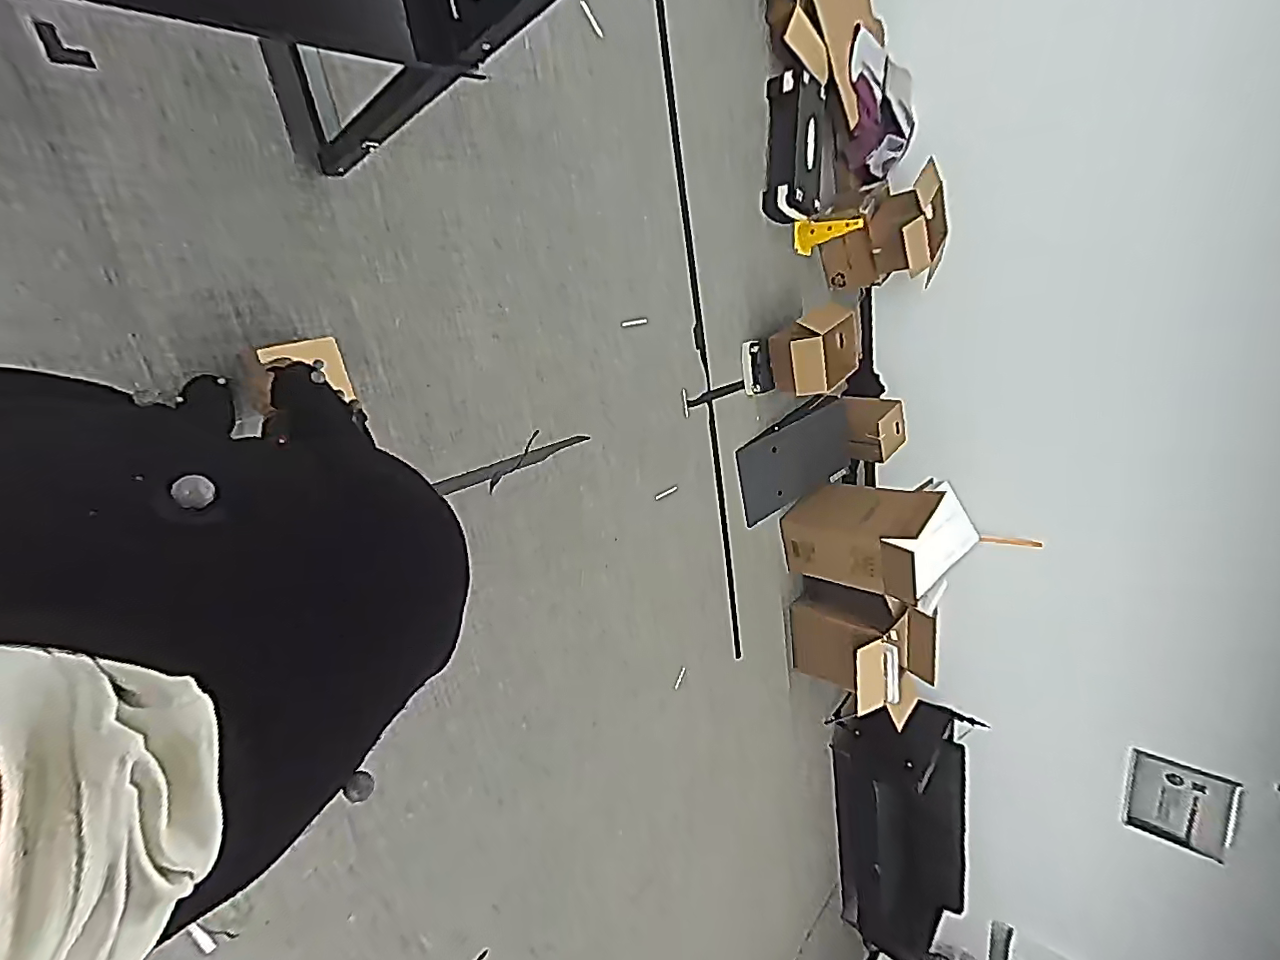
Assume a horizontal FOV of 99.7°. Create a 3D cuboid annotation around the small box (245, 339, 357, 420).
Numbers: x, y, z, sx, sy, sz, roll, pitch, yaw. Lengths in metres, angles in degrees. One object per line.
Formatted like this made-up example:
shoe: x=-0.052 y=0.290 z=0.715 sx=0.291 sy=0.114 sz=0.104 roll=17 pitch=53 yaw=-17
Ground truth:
small box: x=-0.859 y=-0.258 z=1.371 sx=0.179 sy=0.176 sz=0.168 roll=-28 pitch=115 yaw=-40
